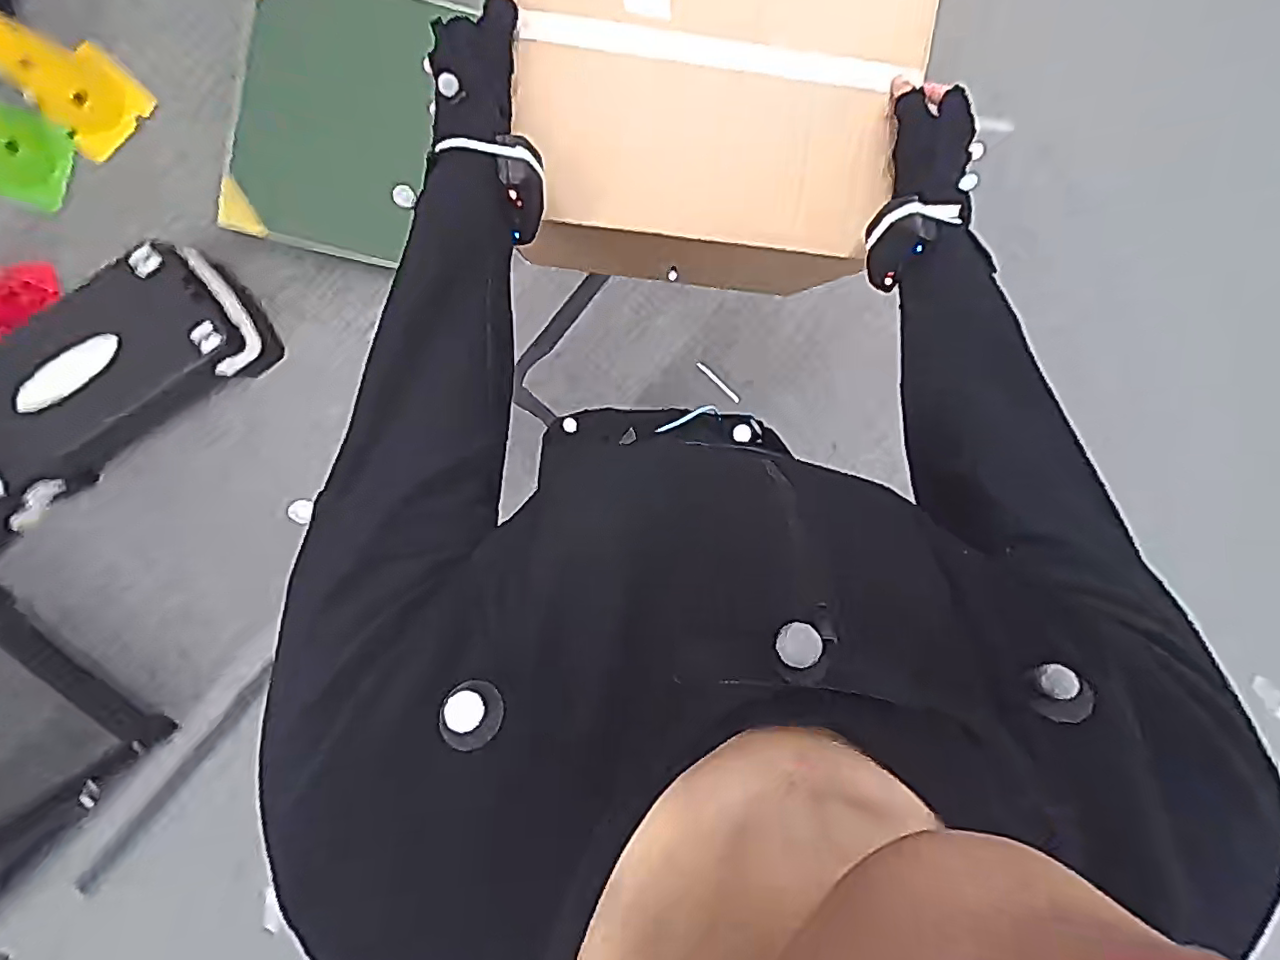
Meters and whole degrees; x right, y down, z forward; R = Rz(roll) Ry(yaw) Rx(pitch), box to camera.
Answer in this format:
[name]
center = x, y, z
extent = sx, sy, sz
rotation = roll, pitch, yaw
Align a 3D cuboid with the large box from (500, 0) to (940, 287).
[large box]
center = 0.070, -0.428, 0.653
extent = 0.408, 0.320, 0.320
rotation = 6, 102, -5
